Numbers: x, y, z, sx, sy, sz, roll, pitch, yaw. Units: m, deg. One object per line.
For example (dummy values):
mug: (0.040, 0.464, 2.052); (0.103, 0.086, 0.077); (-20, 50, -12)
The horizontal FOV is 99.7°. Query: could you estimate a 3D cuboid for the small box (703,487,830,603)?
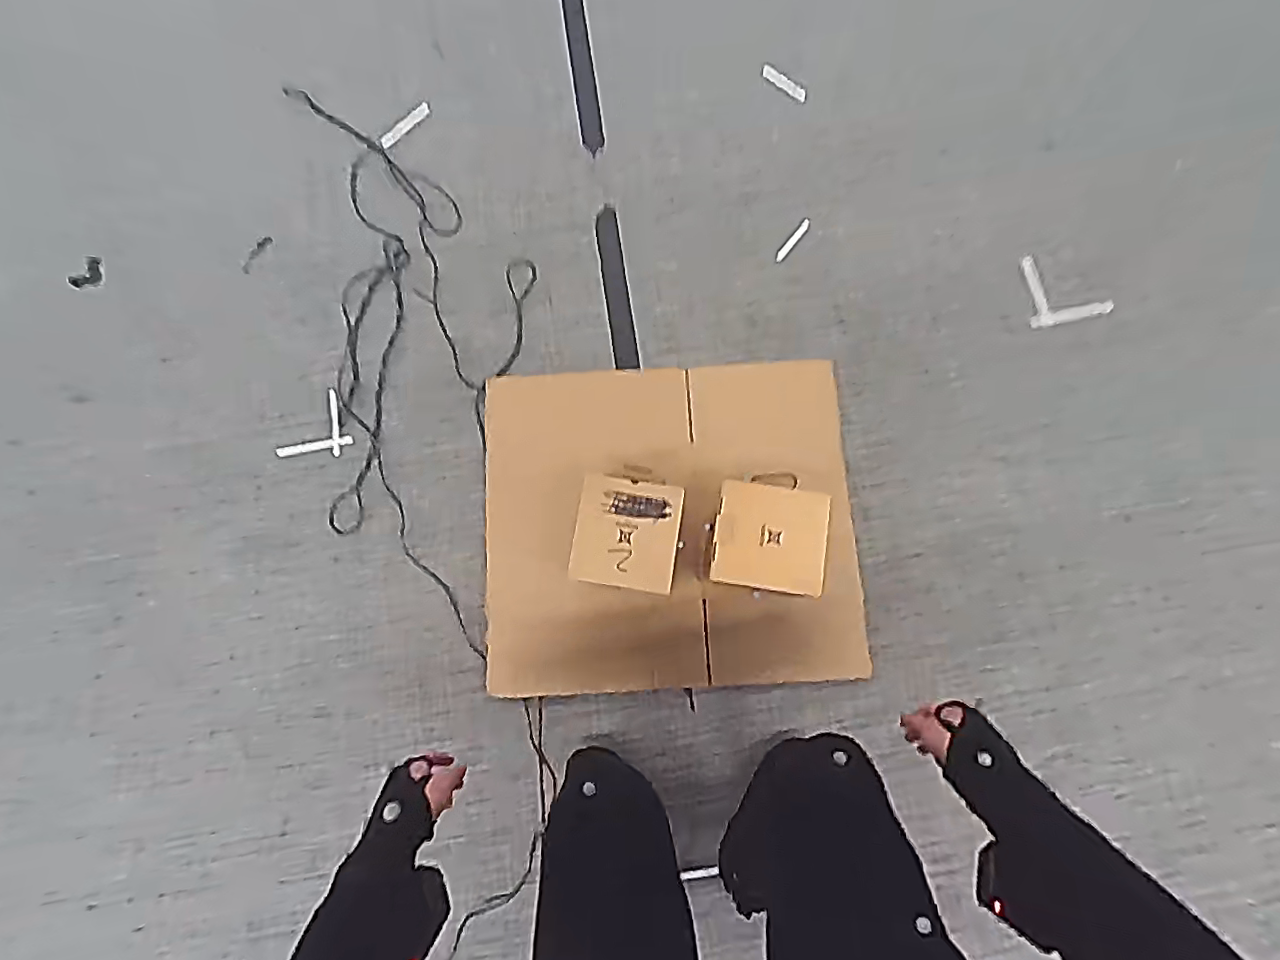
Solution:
small box: (0.214, 0.117, 0.955); (0.179, 0.176, 0.168); (9, 79, 4)
